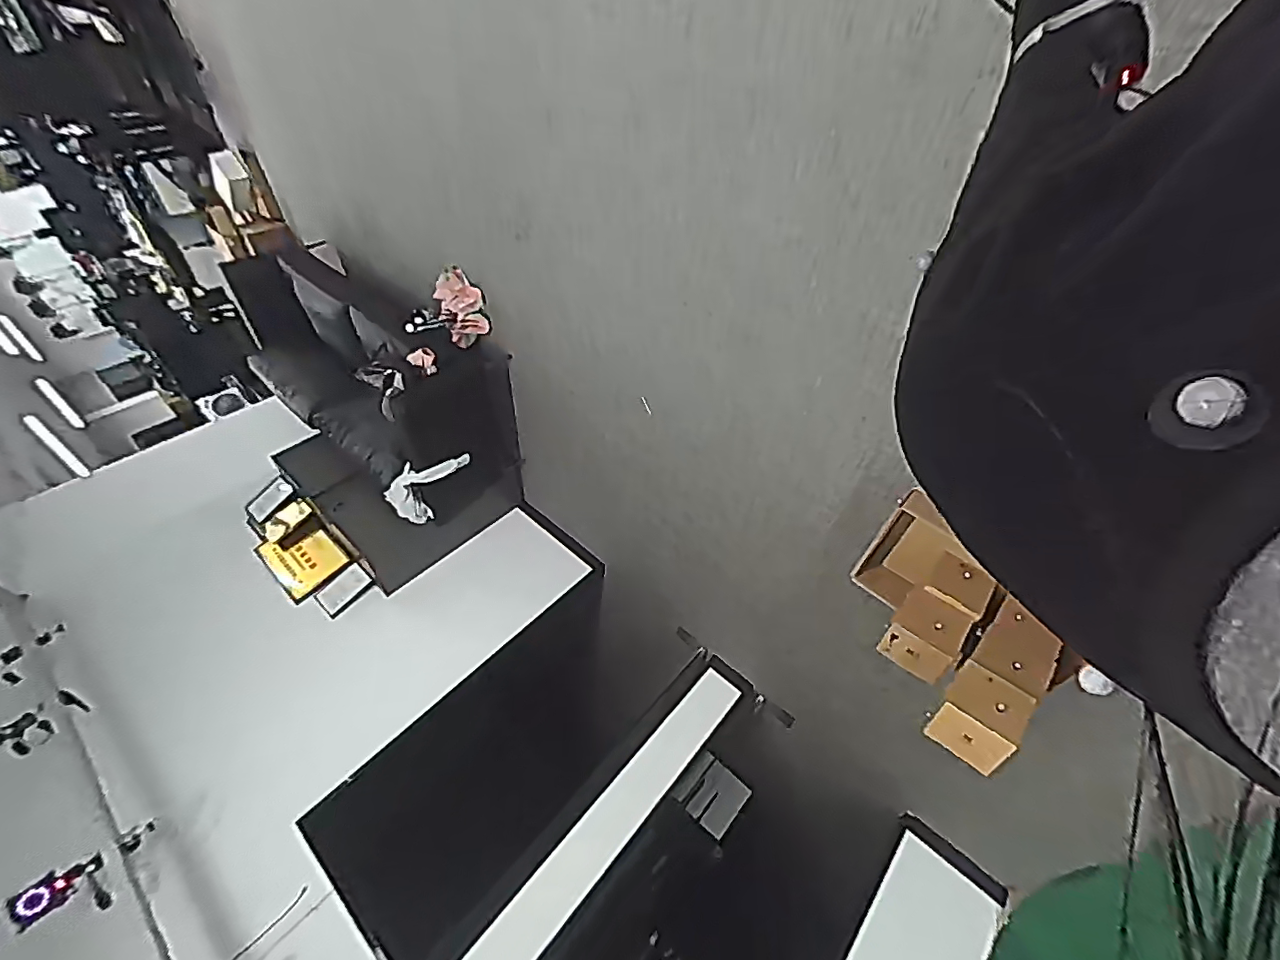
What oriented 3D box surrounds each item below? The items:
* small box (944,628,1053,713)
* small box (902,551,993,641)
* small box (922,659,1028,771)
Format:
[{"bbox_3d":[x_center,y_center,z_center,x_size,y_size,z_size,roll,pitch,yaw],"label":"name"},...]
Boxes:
[{"bbox_3d":[0.994,0.540,1.503,0.179,0.176,0.168,34,142,27],"label":"small box"},{"bbox_3d":[0.958,0.358,1.682,0.168,0.176,0.179,35,143,22],"label":"small box"},{"bbox_3d":[0.876,0.606,1.411,0.168,0.176,0.179,32,141,31],"label":"small box"}]
